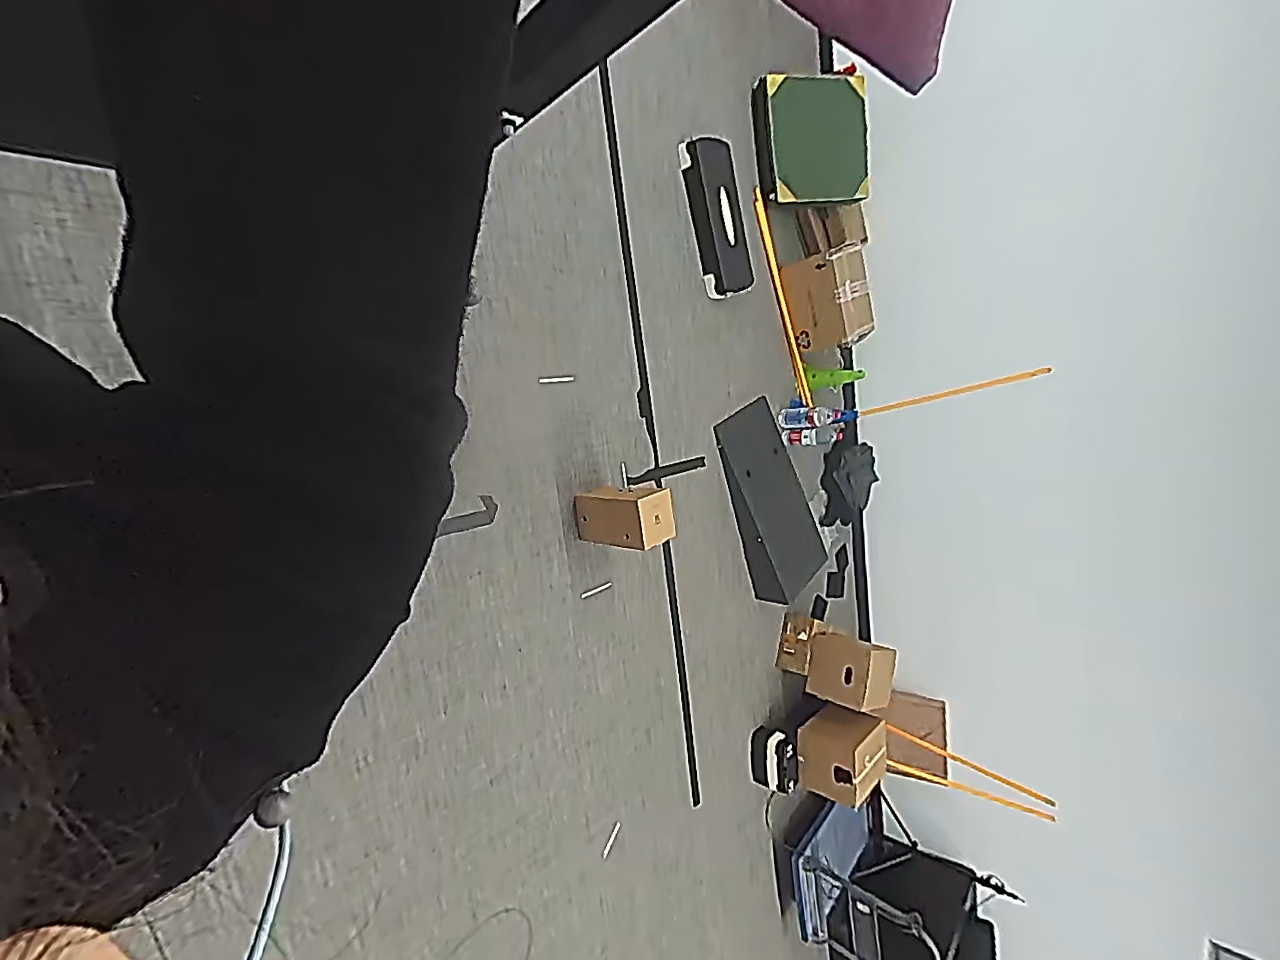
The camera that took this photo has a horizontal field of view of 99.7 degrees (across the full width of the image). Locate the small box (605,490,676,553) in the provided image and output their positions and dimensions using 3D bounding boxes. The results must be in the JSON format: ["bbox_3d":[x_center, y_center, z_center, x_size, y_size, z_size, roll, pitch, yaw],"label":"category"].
[{"bbox_3d":[0.000,0.136,1.860,0.168,0.176,0.179,-18,104,-45],"label":"small box"}]

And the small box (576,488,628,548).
[{"bbox_3d":[-0.115,0.133,1.976,0.168,0.176,0.179,-16,103,-45],"label":"small box"}]
